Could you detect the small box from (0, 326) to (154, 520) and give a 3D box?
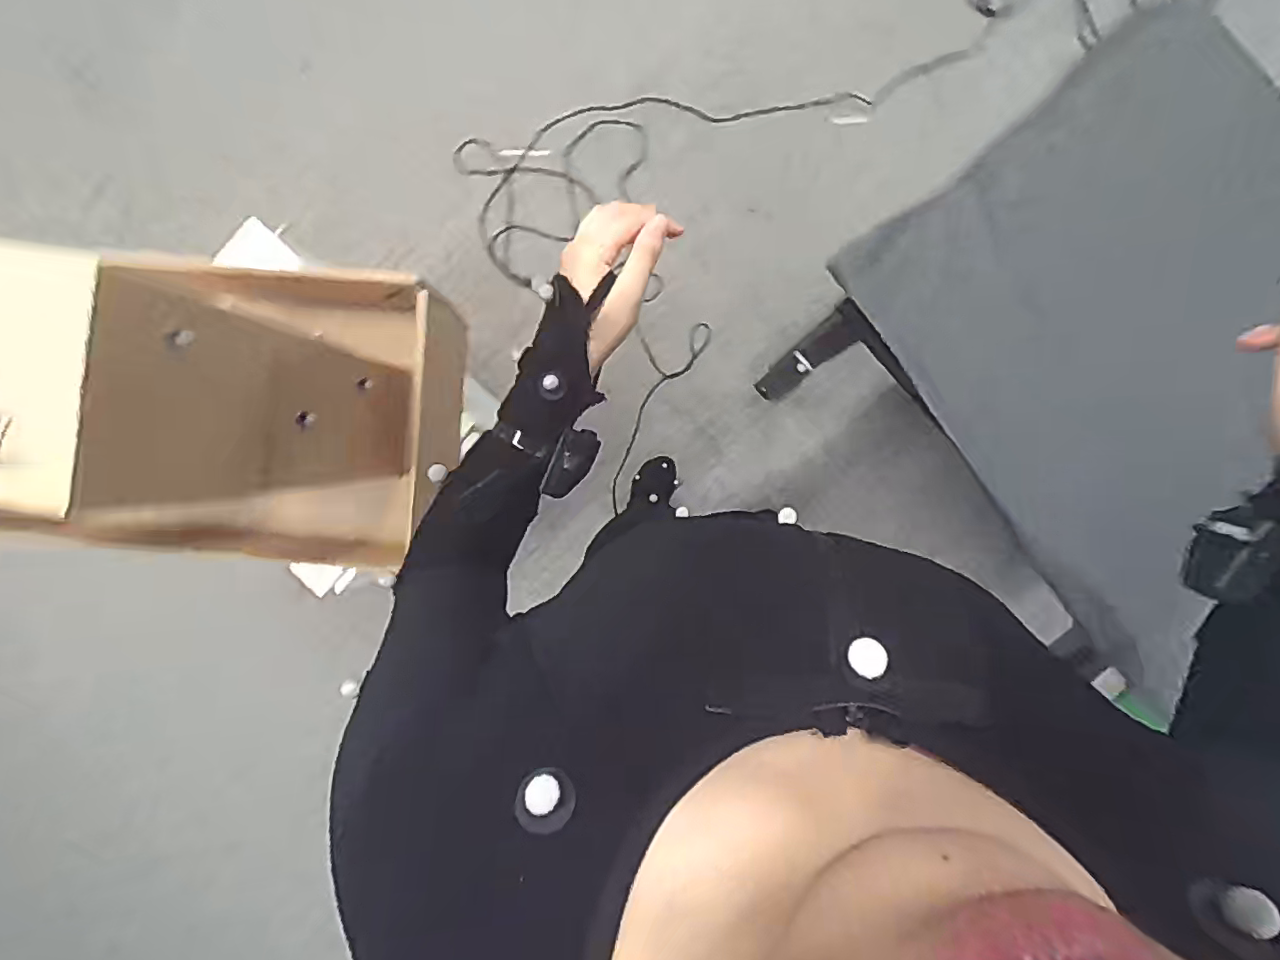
[{"bbox_3d":[-0.714,-0.056,0.624,0.168,0.176,0.179,-21,94,2],"label":"small box"}]

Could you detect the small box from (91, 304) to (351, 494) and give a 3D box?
[{"bbox_3d":[-0.456,-0.084,0.616,0.168,0.176,0.179,6,94,3],"label":"small box"}]
